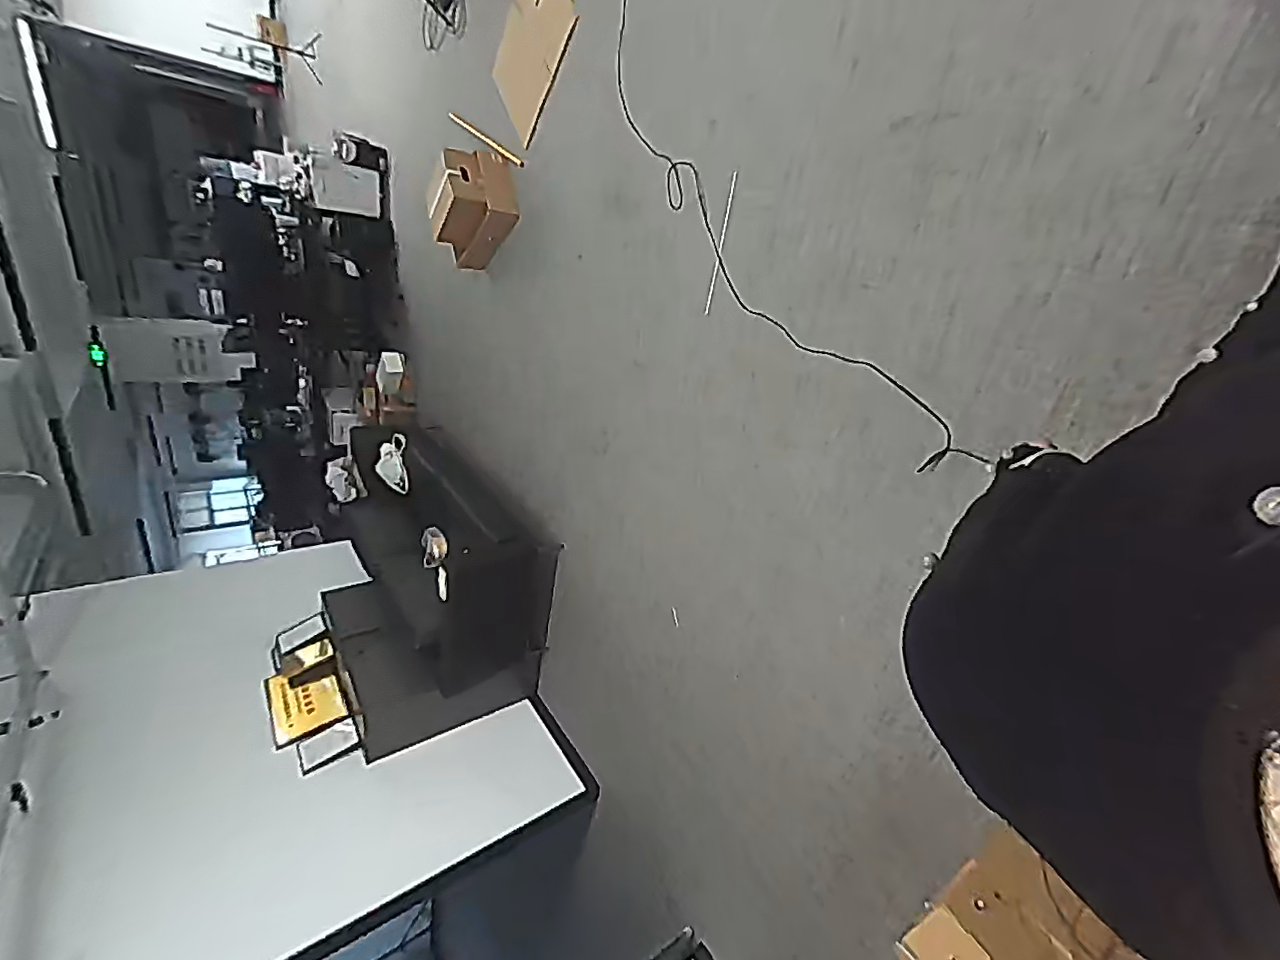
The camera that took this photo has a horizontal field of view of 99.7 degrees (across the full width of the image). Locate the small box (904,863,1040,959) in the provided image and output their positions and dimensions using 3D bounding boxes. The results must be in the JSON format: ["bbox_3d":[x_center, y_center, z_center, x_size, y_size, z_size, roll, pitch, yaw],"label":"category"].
[{"bbox_3d":[0.719,0.981,1.167,0.168,0.176,0.179,45,132,40],"label":"small box"}]
